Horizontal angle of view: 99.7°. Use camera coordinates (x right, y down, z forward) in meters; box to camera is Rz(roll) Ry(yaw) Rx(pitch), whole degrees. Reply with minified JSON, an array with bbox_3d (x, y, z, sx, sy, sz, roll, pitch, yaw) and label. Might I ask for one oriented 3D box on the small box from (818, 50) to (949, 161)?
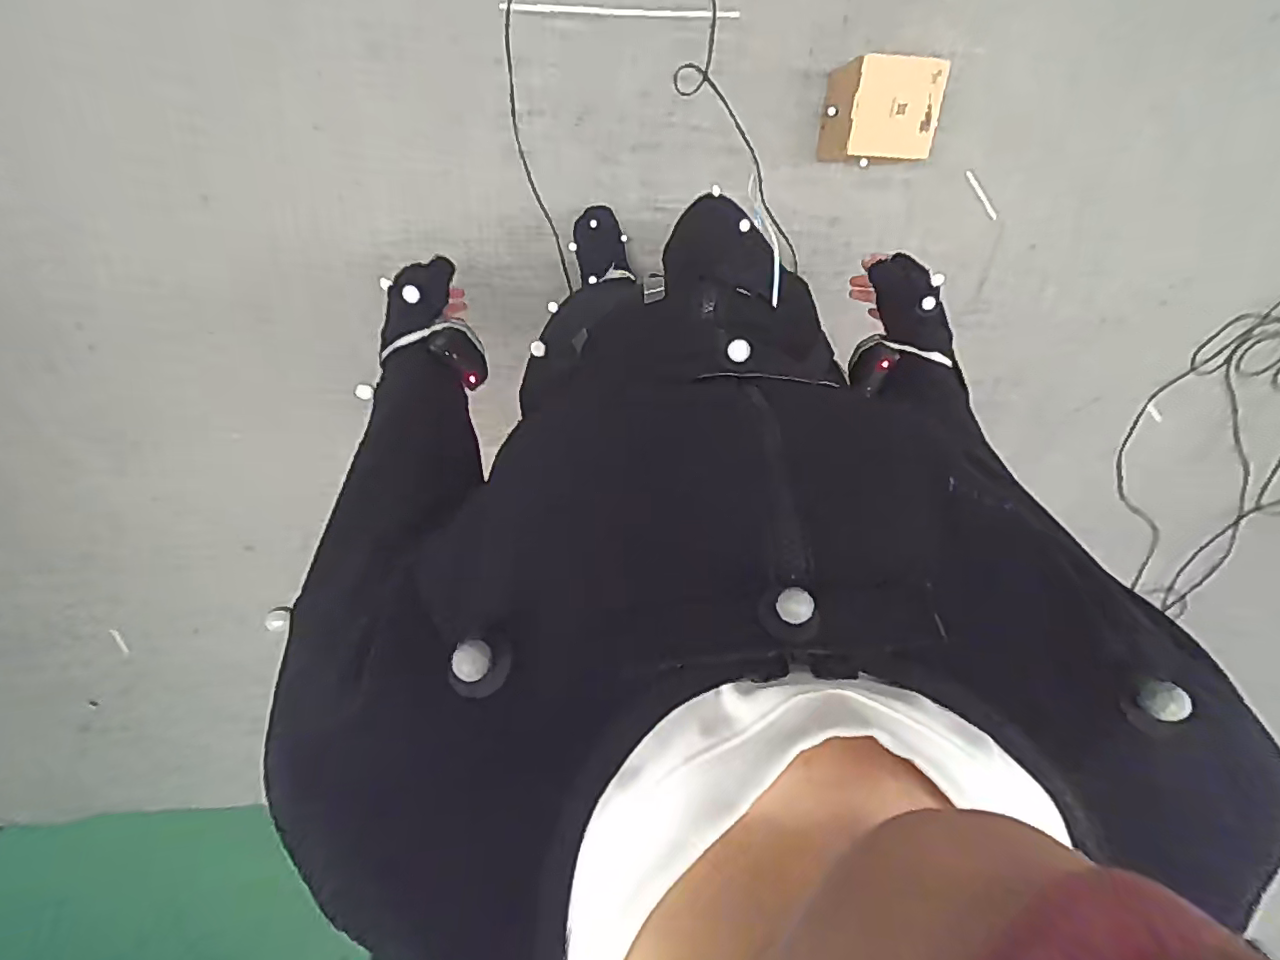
[{"bbox_3d":[0.489,-0.763,1.119,0.179,0.176,0.168,1,118,-4],"label":"small box"}]
